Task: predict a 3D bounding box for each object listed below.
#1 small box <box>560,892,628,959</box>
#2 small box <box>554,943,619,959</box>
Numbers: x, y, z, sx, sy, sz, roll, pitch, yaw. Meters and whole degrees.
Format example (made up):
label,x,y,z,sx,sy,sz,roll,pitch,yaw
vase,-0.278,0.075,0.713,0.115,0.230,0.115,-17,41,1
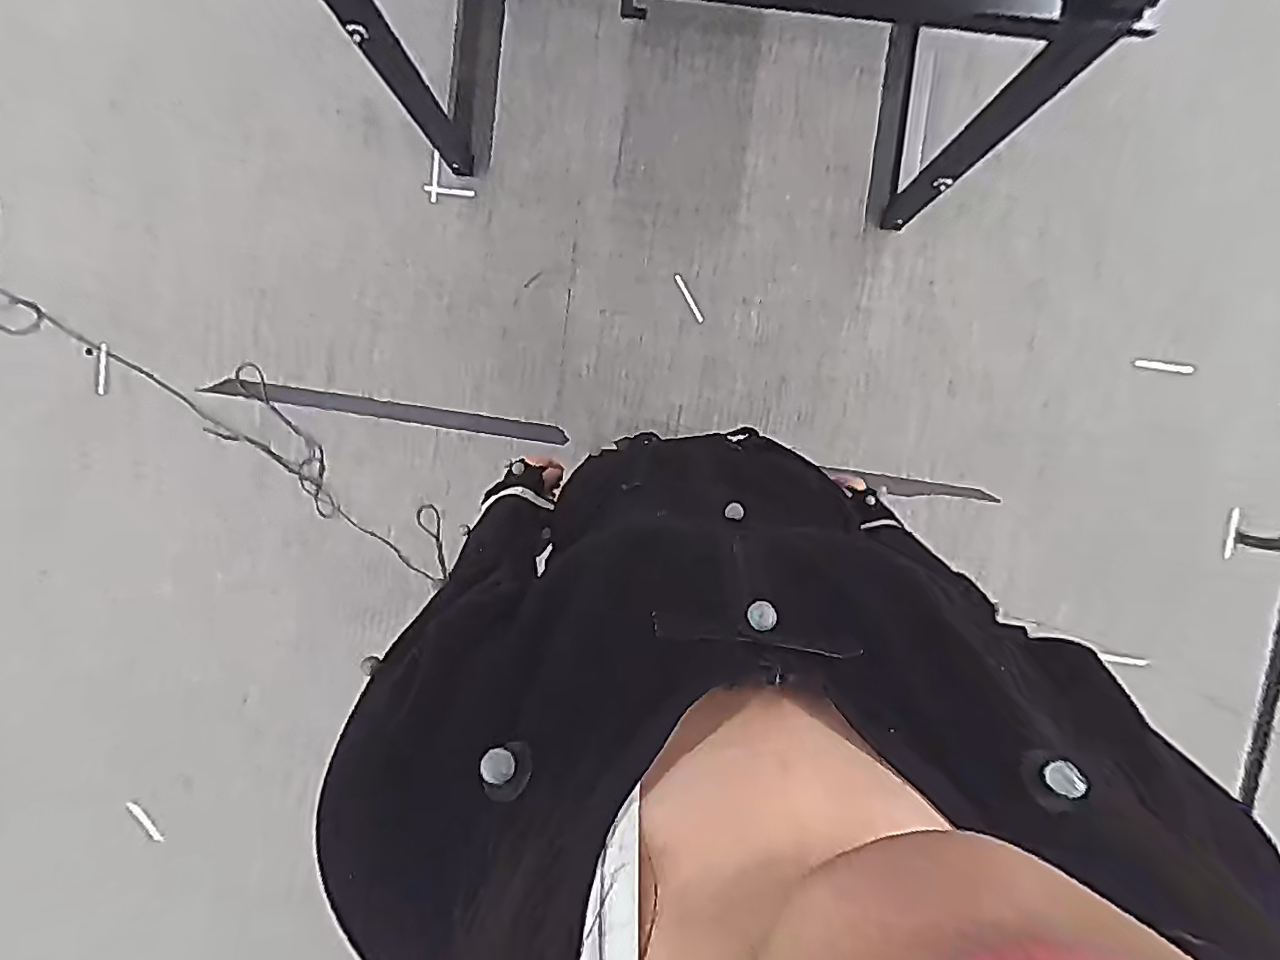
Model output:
label,x,y,z,sx,sy,sz,roll,pitch,yaw
small box,-0.122,1.279,1.491,0.168,0.176,0.179,-6,94,1
small box,-0.131,1.297,1.328,0.168,0.176,0.179,-6,94,0
